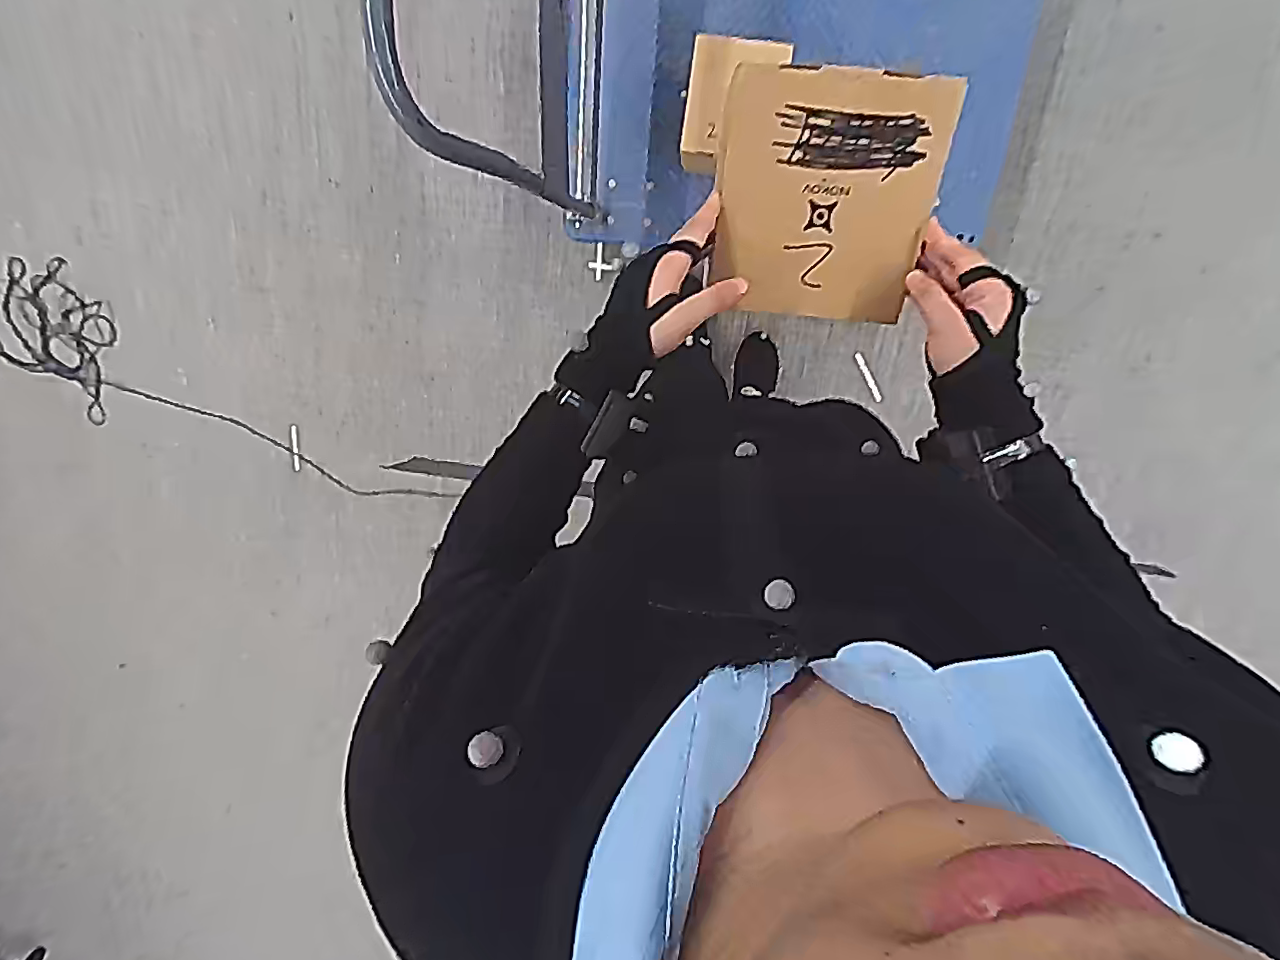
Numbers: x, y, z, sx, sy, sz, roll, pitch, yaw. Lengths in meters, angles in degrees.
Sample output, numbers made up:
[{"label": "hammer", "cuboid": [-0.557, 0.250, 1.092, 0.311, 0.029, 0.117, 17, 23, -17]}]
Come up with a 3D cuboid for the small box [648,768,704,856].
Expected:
[{"label": "small box", "cuboid": [0.123, 1.099, 1.796, 0.168, 0.176, 0.179, 6, 108, 4]}]

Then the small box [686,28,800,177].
[{"label": "small box", "cuboid": [0.180, -0.681, 0.995, 0.168, 0.176, 0.179, 10, 110, 4]}]
